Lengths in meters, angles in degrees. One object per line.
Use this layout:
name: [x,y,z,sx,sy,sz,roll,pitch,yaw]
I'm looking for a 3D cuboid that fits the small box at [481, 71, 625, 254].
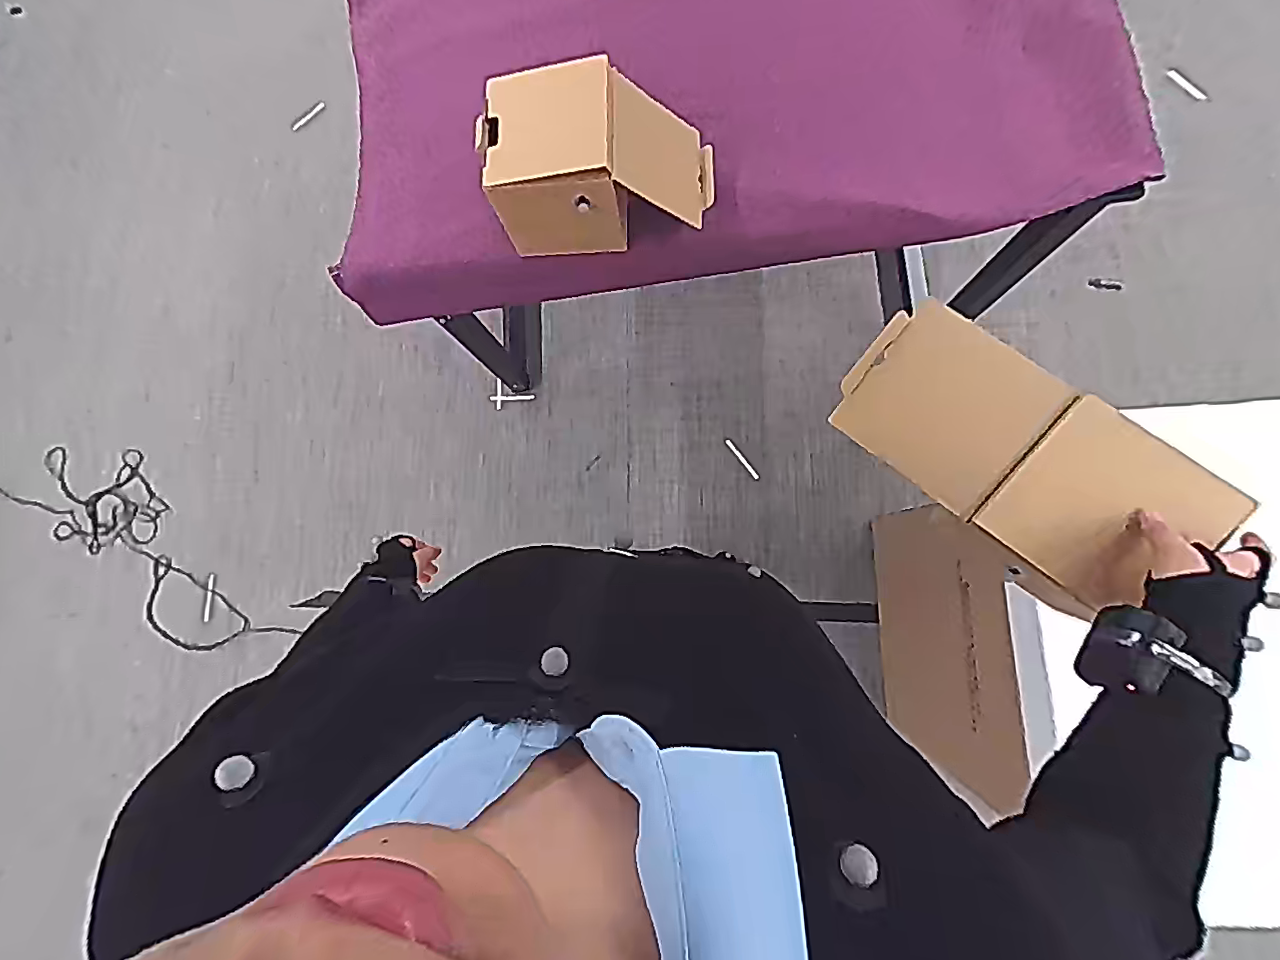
small box: [-0.117,-0.455,0.798,0.179,0.176,0.168,-1,81,6]
